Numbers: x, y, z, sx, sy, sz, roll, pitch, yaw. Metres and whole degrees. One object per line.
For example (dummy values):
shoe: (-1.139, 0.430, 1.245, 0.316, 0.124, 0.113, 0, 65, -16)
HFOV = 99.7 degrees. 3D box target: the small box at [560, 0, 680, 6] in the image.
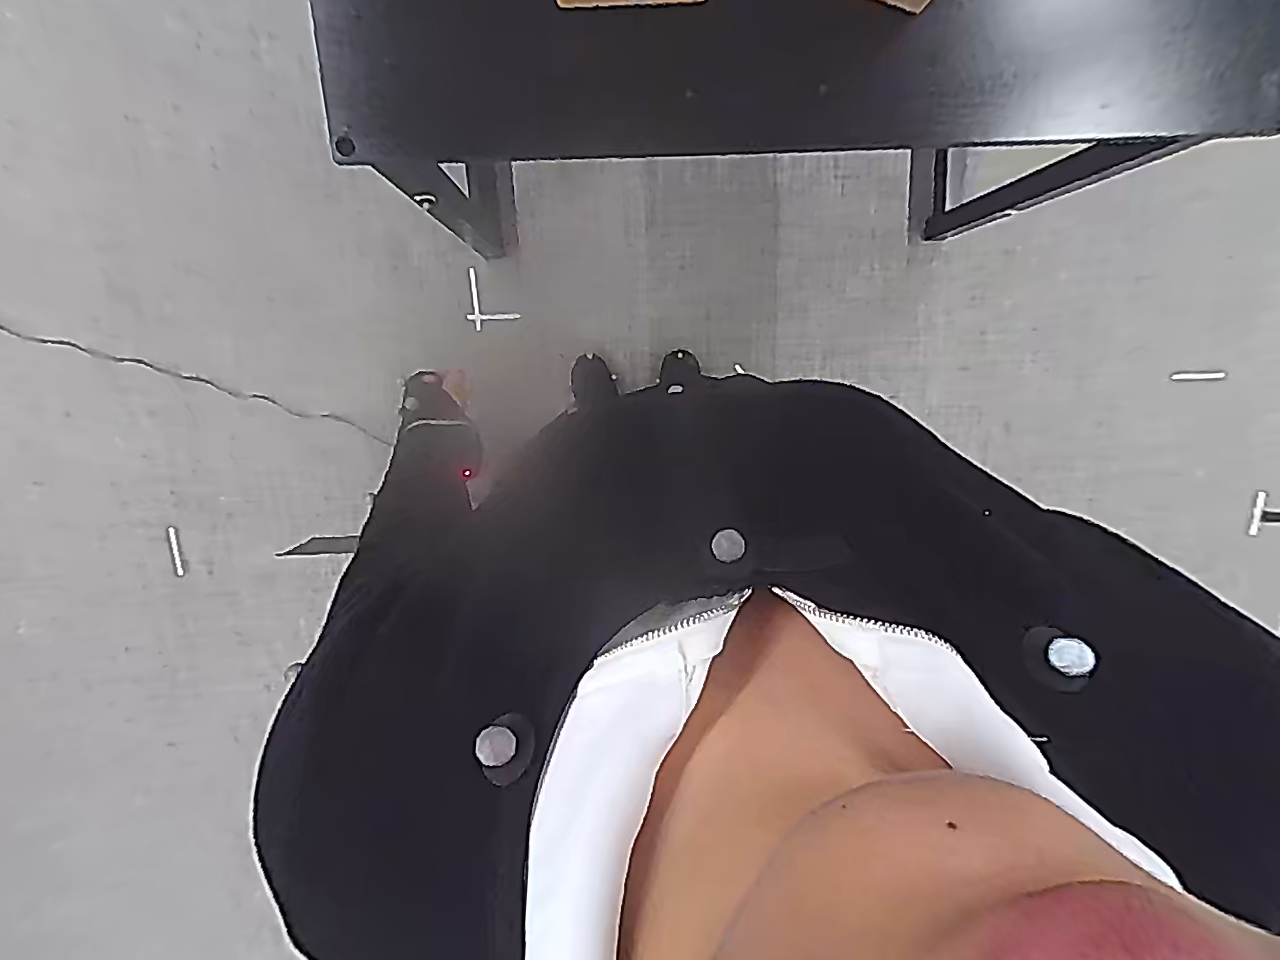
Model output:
small box: (-0.011, -0.625, 0.546, 0.179, 0.176, 0.168, -5, 102, -3)
